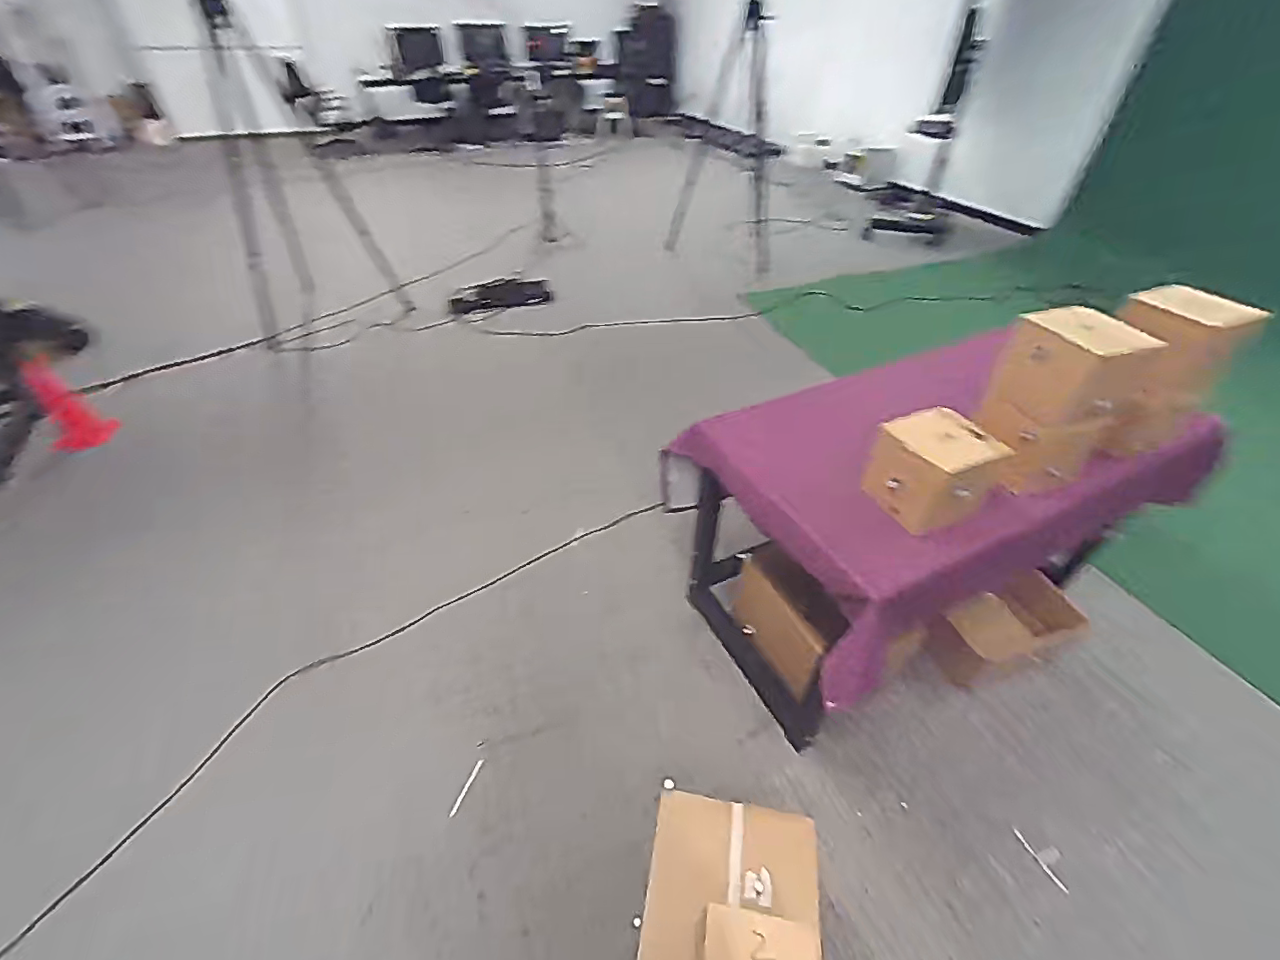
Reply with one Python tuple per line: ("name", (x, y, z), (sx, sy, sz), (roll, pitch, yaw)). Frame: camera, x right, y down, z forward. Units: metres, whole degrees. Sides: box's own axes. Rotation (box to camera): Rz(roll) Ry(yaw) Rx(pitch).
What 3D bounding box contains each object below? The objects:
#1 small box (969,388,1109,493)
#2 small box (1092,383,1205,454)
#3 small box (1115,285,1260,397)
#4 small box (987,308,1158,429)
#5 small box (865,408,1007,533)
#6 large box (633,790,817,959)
("small box", (0.854, -0.098, 1.197), (0.168, 0.176, 0.179), (-13, 44, -15))
("small box", (1.151, -0.180, 1.289), (0.168, 0.176, 0.179), (-16, 44, -18))
("small box", (1.155, -0.304, 1.183), (0.179, 0.176, 0.168), (-16, 43, -17))
("small box", (0.854, -0.226, 1.092), (0.168, 0.176, 0.179), (-12, 44, -13))
("small box", (0.584, -0.018, 1.099), (0.179, 0.176, 0.168), (-16, 45, -18))
("large box", (0.154, 0.903, 1.053), (0.320, 0.320, 0.408), (8, 41, 7))
